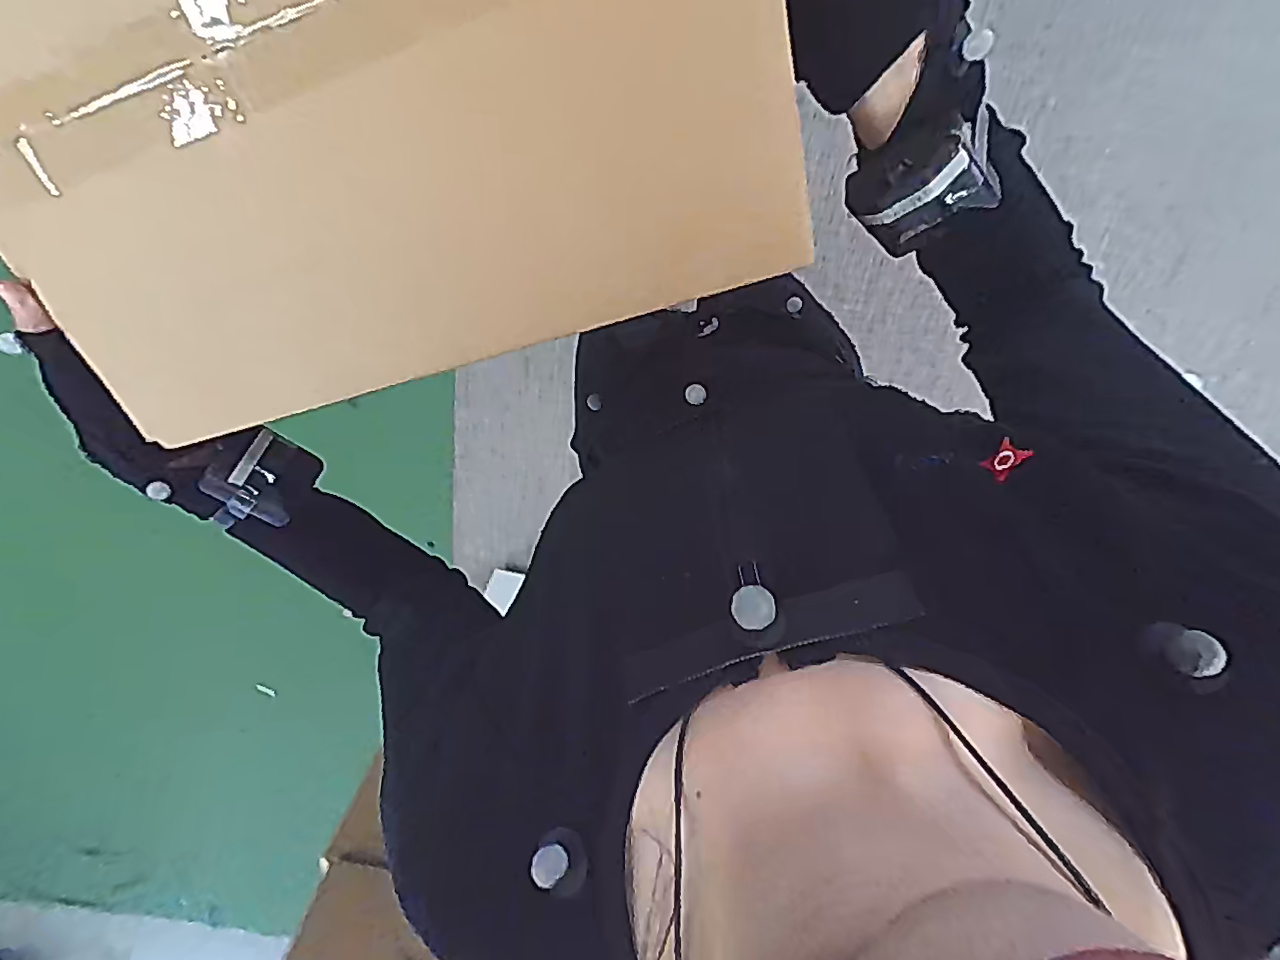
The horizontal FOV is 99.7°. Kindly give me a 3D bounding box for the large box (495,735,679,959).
[{"bbox_3d":[-0.111,0.825,1.164,0.320,0.320,0.408,12,116,-3],"label":"large box"}]
